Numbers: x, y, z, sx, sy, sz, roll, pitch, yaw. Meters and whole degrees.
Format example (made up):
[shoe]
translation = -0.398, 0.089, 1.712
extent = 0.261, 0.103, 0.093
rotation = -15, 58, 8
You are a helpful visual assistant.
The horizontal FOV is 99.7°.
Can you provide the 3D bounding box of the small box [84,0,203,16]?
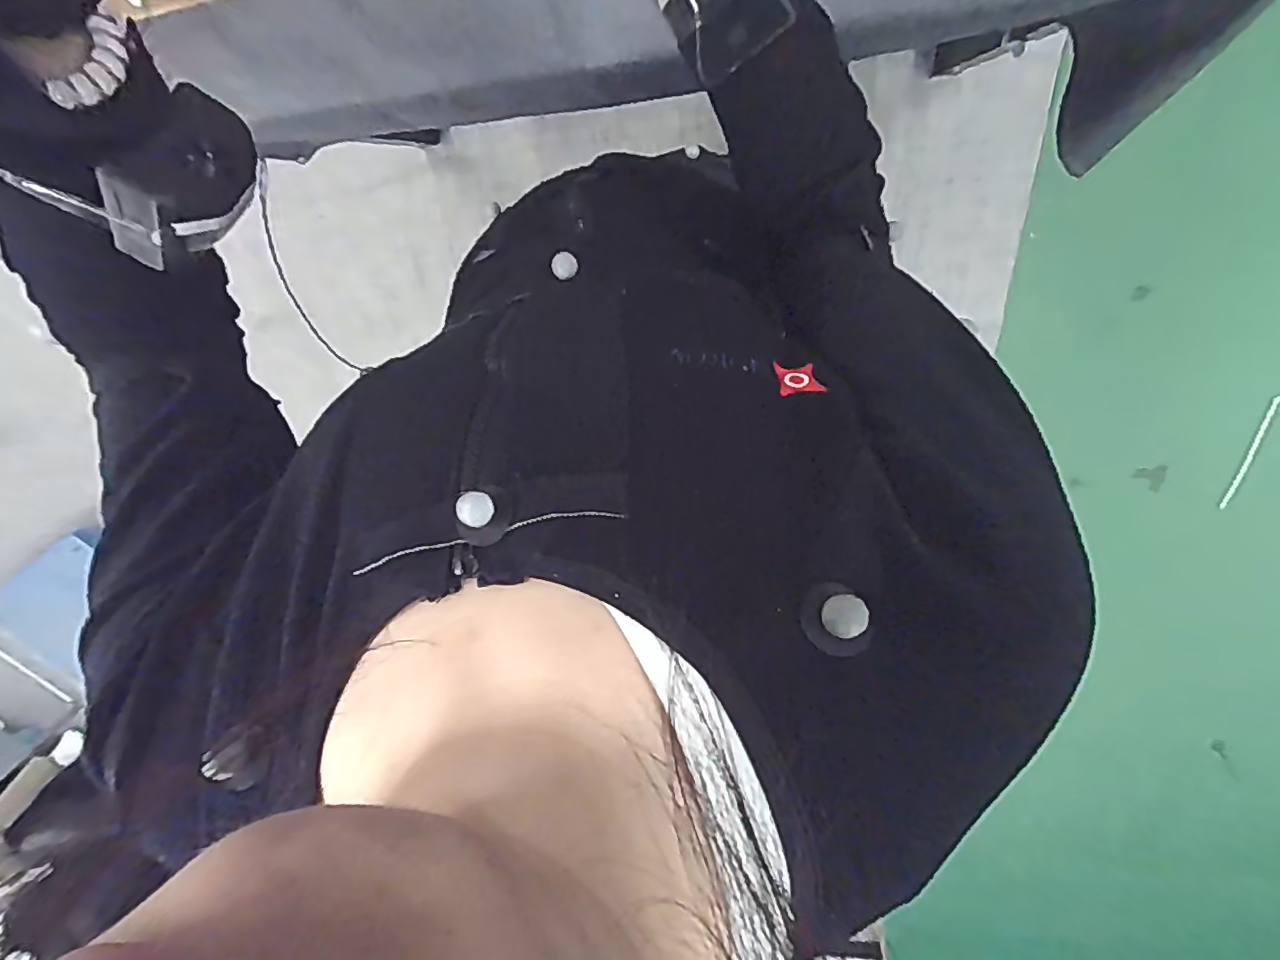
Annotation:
[small box]
translation = -0.489, -0.532, 0.451
extent = 0.168, 0.176, 0.179
rotation = -4, 119, 10
